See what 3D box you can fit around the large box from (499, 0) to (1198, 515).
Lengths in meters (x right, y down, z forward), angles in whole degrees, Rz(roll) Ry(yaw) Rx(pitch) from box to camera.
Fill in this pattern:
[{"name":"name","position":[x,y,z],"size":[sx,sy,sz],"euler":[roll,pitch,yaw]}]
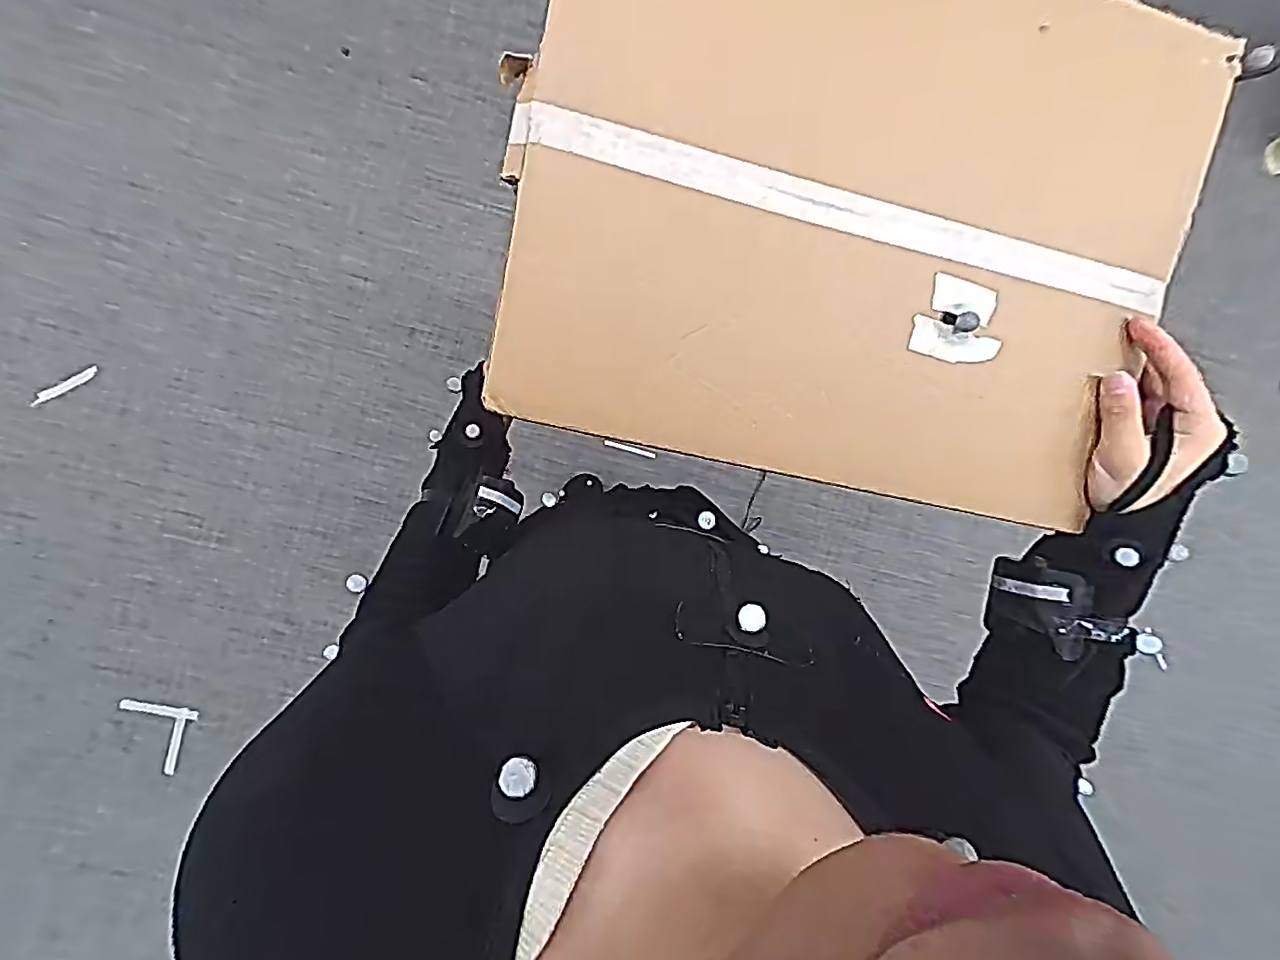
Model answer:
[{"name":"large box","position":[0.114,-0.178,0.476],"size":[0.408,0.320,0.320],"euler":[11,99,-9]}]
